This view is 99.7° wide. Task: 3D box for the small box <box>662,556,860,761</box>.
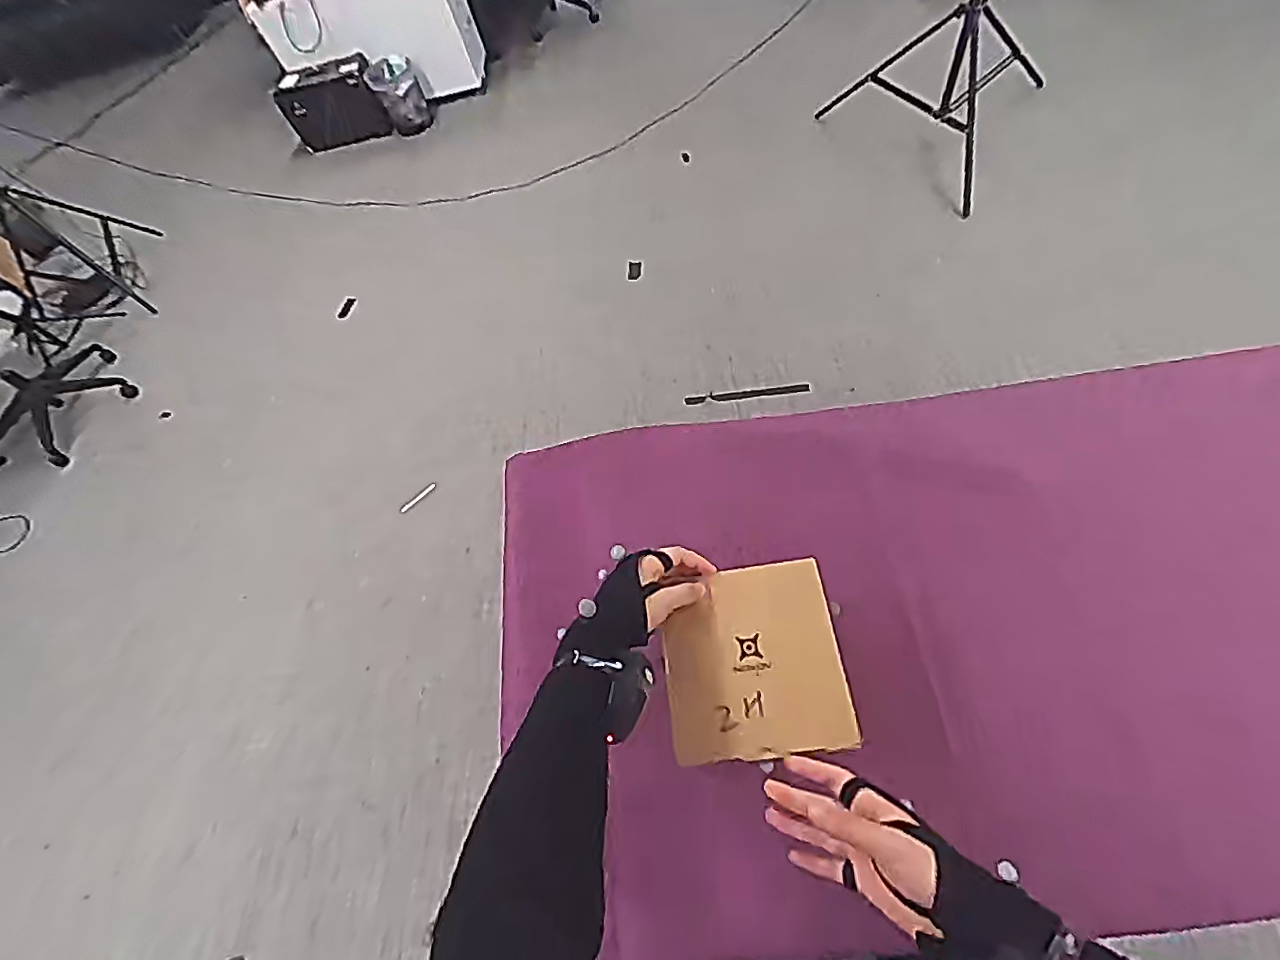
[{"bbox_3d":[0.121,0.199,0.581,0.168,0.176,0.179,-9,61,10],"label":"small box"}]
